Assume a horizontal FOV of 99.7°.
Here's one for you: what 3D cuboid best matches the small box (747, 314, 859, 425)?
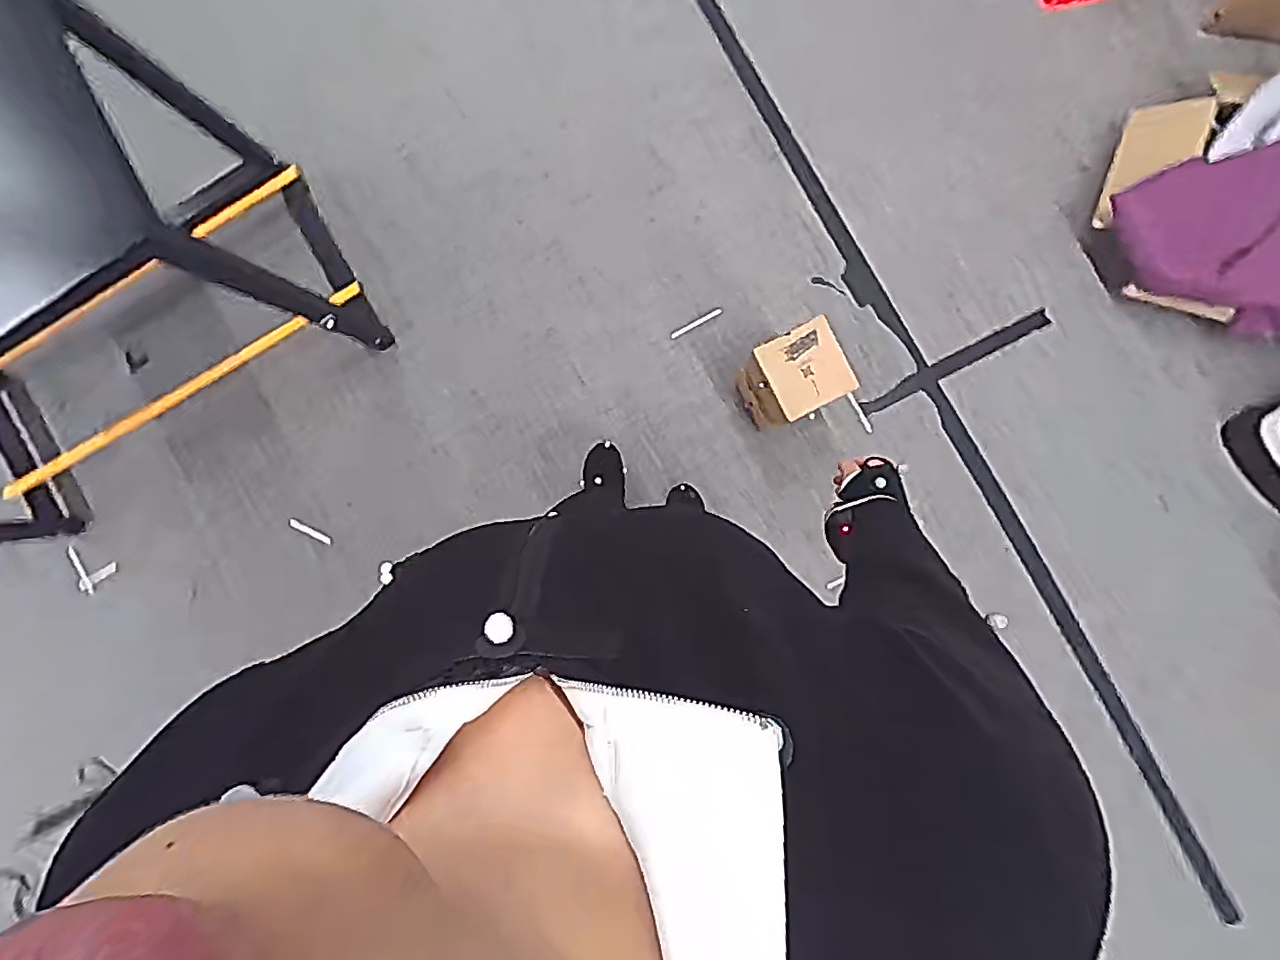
[{"bbox_3d":[0.354,-0.237,1.210,0.168,0.176,0.179,-26,89,5],"label":"small box"}]

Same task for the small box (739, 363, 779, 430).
[{"bbox_3d":[0.361,-0.238,1.376,0.179,0.176,0.168,-26,88,5],"label":"small box"}]
